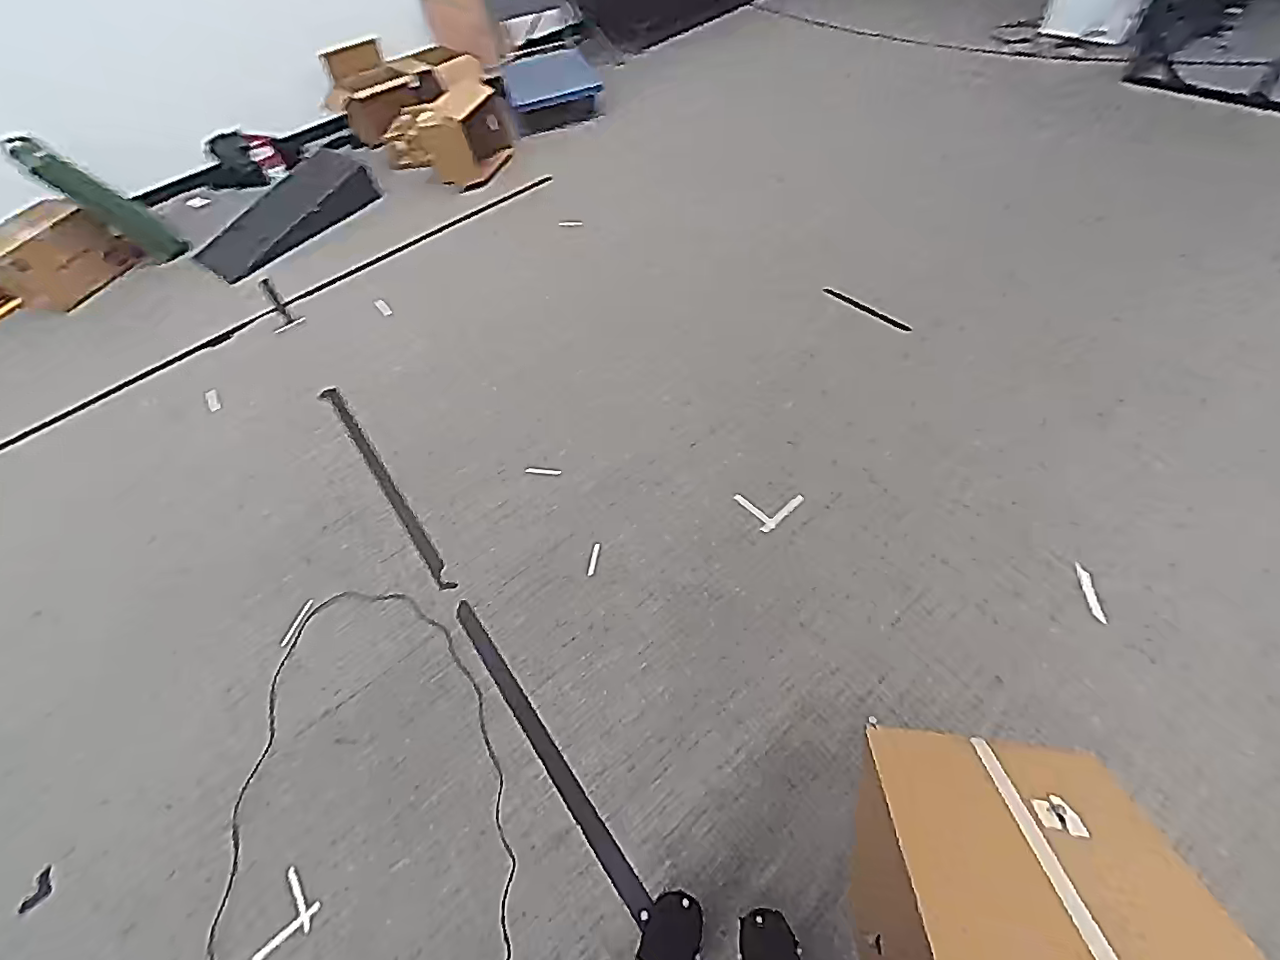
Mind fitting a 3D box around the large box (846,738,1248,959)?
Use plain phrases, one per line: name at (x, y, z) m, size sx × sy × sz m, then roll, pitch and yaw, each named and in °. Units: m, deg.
large box at (0.459, 0.596, 0.659) m, size 0.320 × 0.320 × 0.408 m, roll 4°, pitch 12°, yaw 10°
